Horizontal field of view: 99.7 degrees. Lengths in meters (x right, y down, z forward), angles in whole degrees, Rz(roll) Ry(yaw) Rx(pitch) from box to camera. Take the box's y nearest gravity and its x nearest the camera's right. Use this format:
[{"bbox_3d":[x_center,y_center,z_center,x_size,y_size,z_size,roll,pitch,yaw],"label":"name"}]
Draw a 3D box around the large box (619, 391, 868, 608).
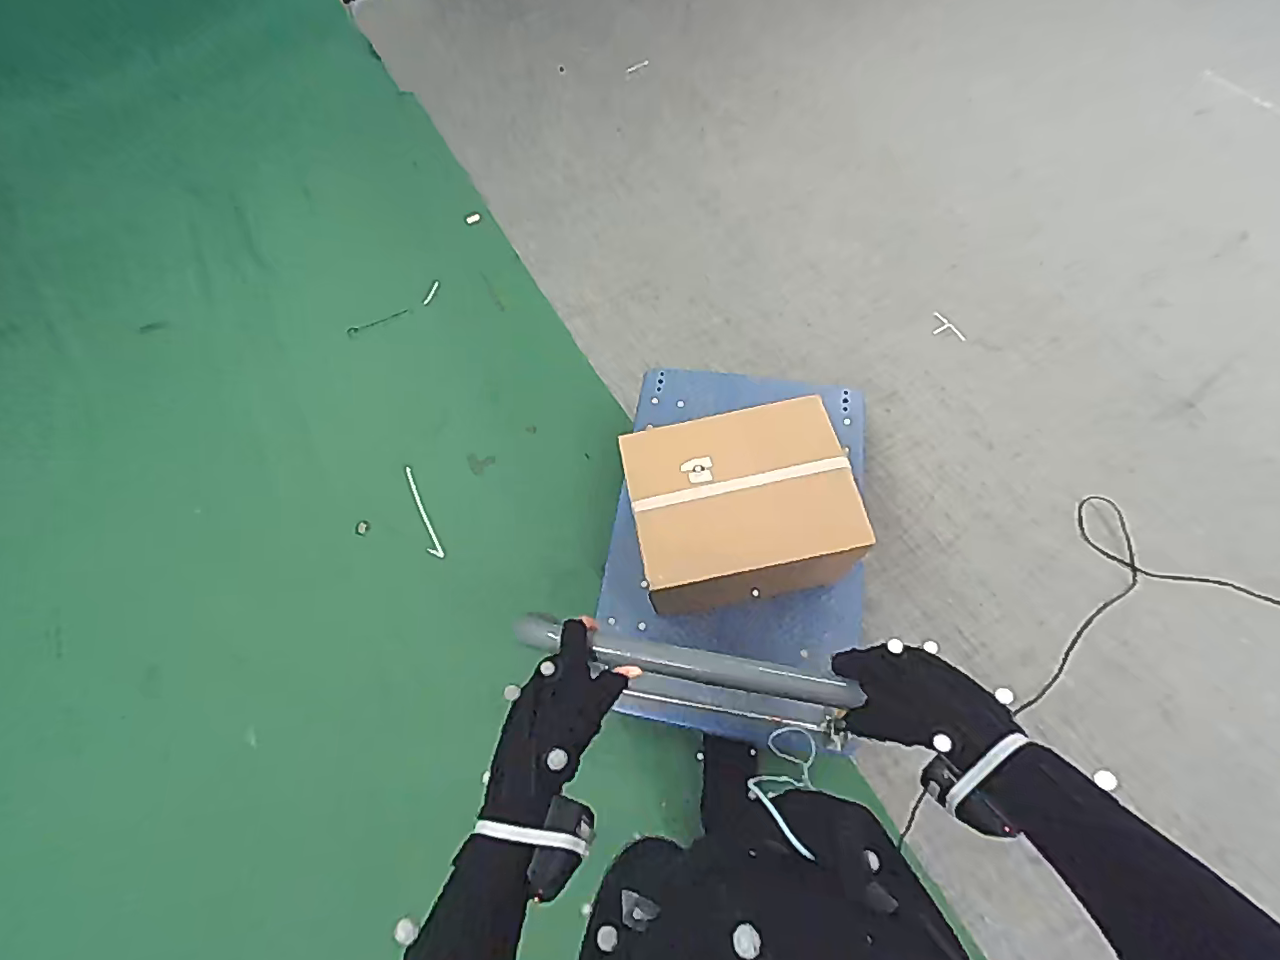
[{"bbox_3d":[0.198,0.060,1.145,0.408,0.320,0.320,-13,66,2],"label":"large box"}]
